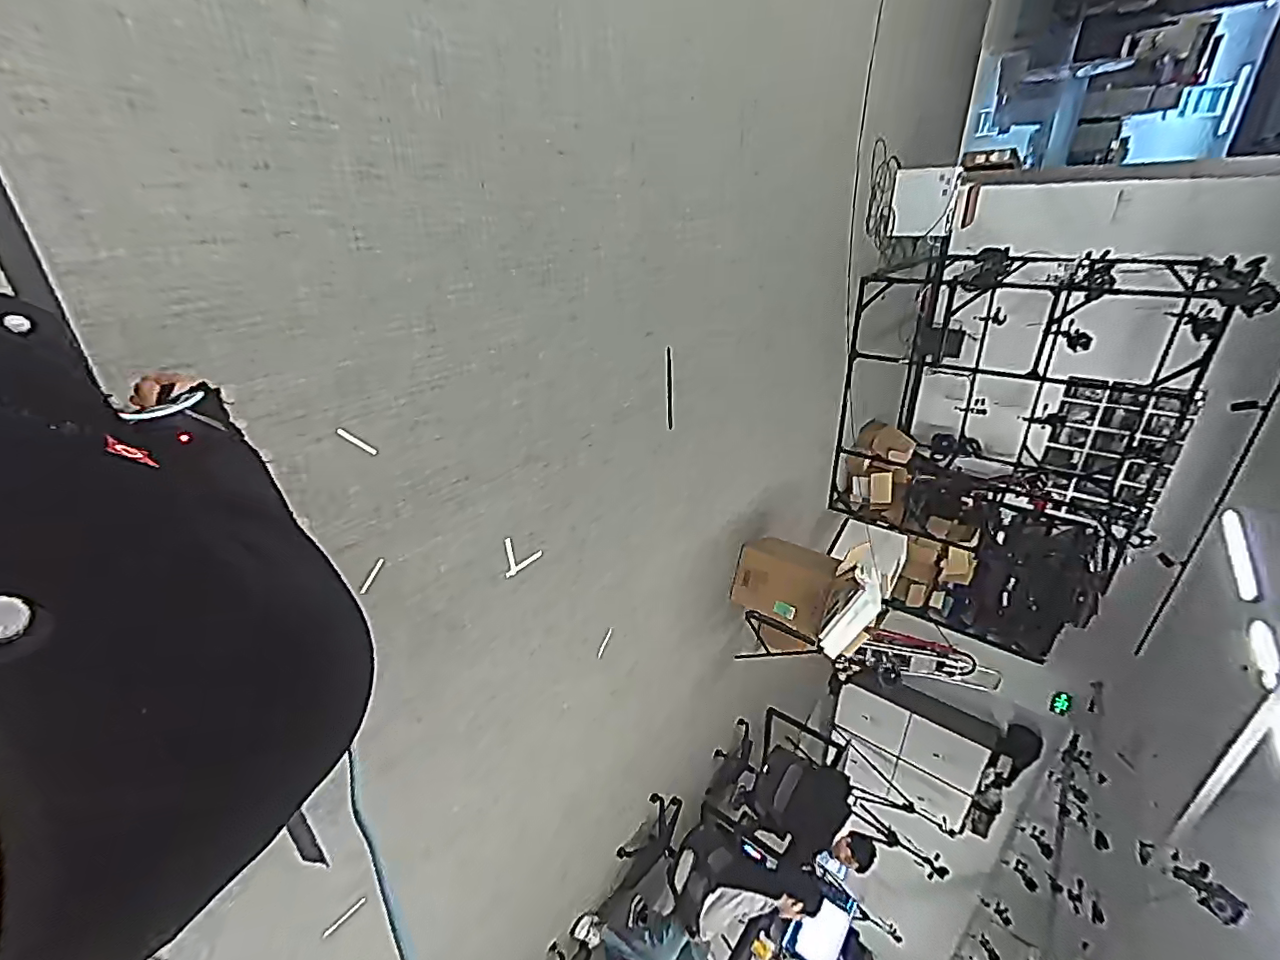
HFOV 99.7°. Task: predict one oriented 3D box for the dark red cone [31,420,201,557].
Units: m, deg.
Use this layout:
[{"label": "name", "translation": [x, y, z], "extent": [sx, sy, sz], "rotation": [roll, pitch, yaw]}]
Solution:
[{"label": "dark red cone", "translation": [-0.863, 0.042, 0.942], "extent": [0.201, 0.394, 0.202], "rotation": [-30, 129, -43]}]
